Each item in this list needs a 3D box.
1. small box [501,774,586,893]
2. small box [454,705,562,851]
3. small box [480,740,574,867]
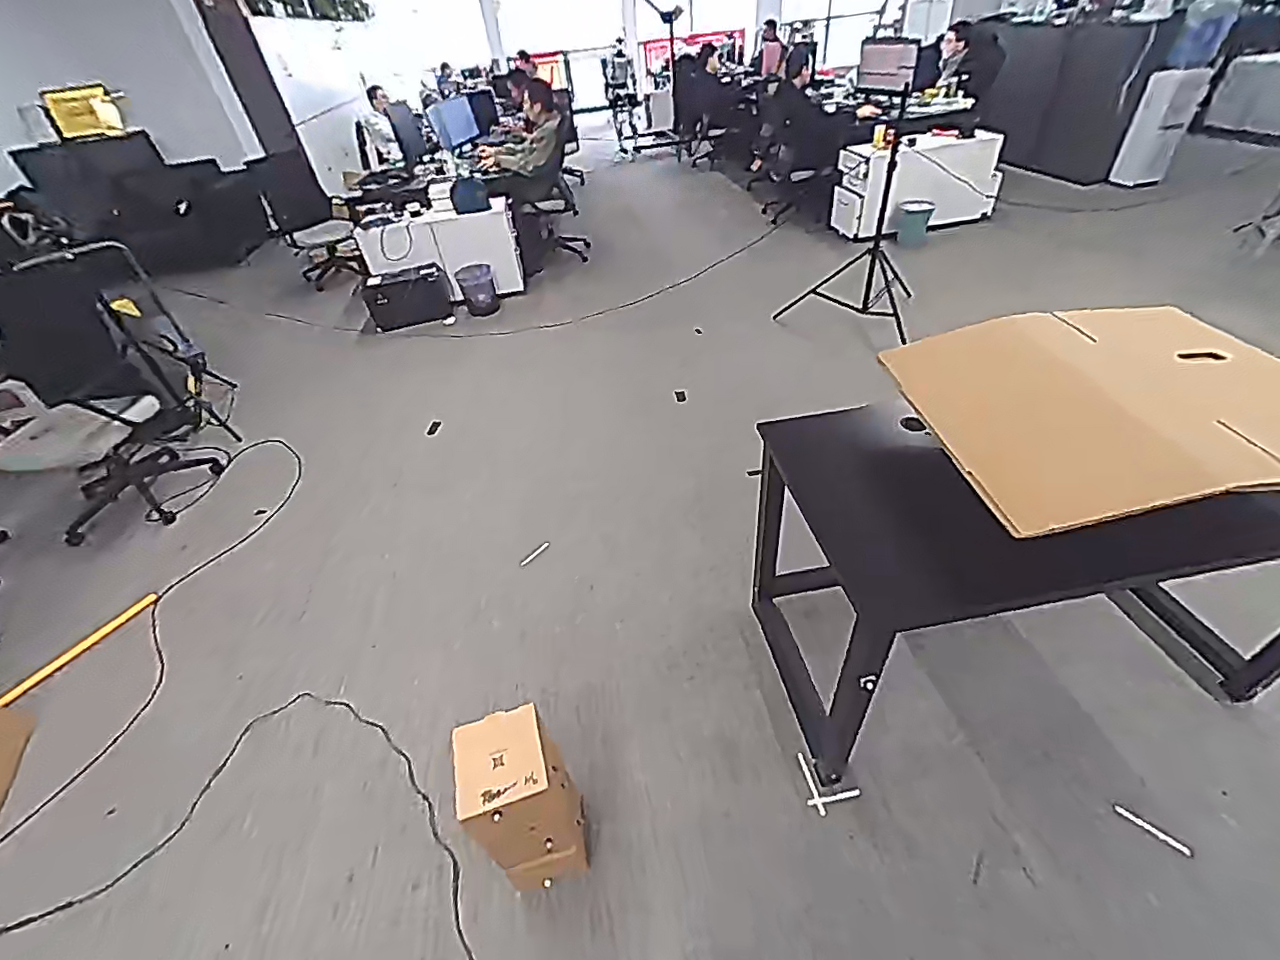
[{"bbox_3d":[-0.230,0.839,1.283,0.168,0.176,0.179,-12,41,-6],"label":"small box"},{"bbox_3d":[-0.262,0.590,1.074,0.168,0.176,0.179,-15,40,-10],"label":"small box"},{"bbox_3d":[-0.248,0.713,1.183,0.168,0.176,0.179,-14,39,-9],"label":"small box"}]
